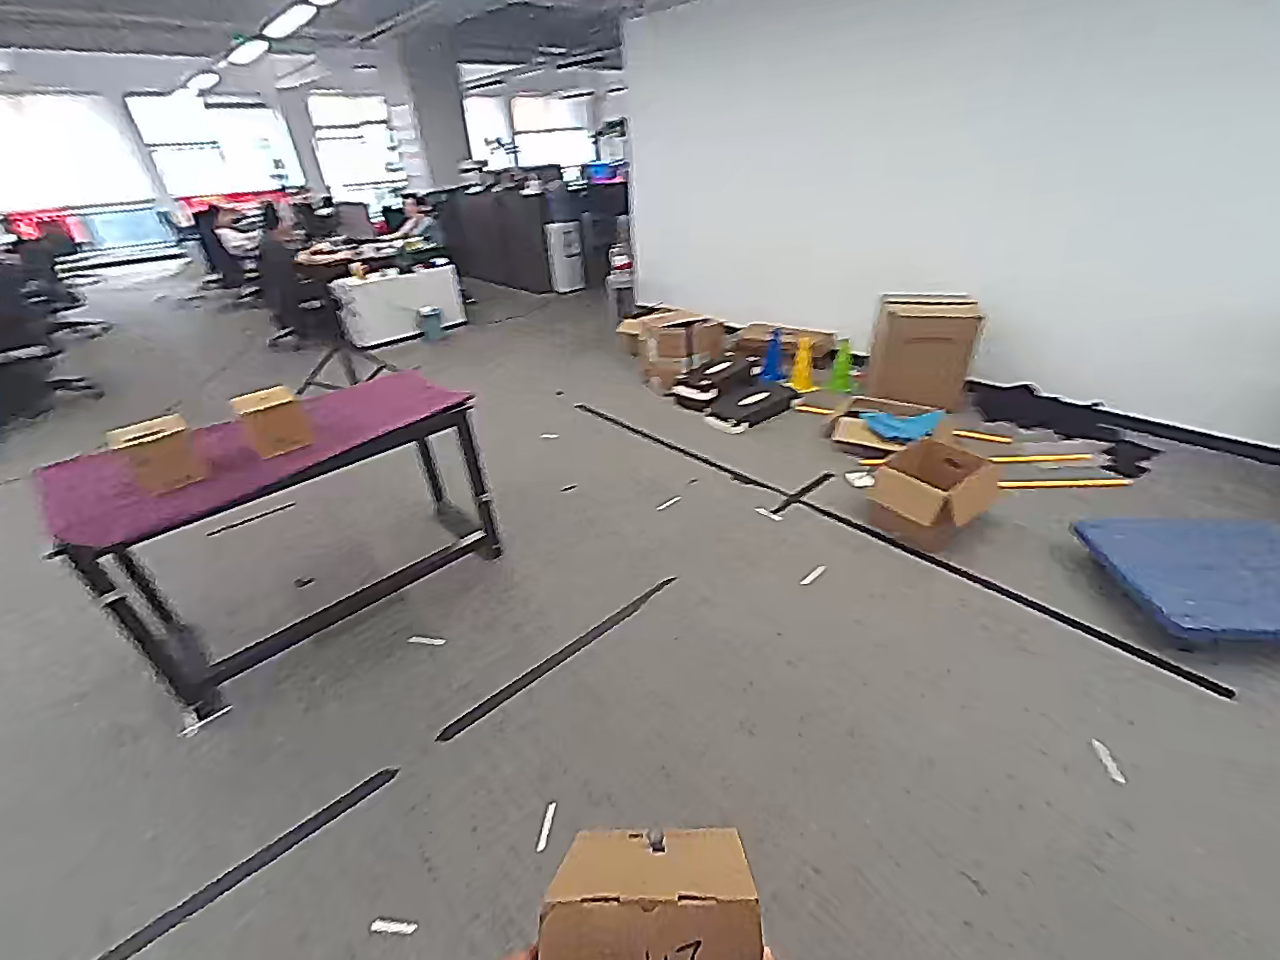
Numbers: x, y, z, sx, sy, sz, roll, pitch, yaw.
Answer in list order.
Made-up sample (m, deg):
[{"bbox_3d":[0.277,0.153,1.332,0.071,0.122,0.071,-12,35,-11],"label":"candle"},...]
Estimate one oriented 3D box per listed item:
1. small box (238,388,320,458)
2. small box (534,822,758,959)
[{"bbox_3d":[-1.222,-0.194,1.831,0.168,0.176,0.179,-29,40,-34],"label":"small box"},{"bbox_3d":[0.010,0.411,0.453,0.168,0.176,0.179,-3,71,2],"label":"small box"}]
